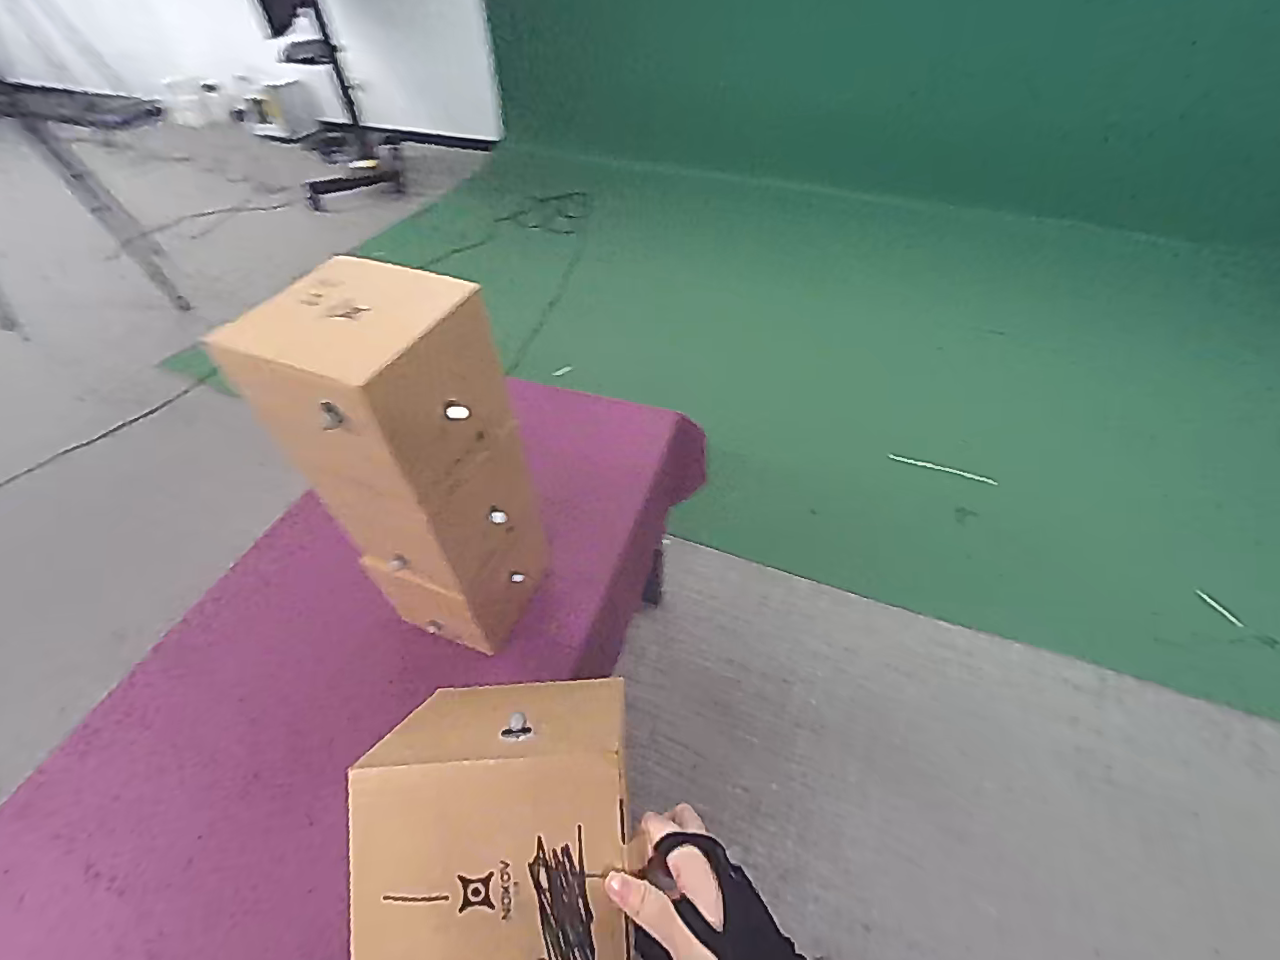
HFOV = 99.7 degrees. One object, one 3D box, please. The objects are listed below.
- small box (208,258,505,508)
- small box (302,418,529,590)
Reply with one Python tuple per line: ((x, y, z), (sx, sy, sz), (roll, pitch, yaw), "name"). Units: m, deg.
((-0.261, -0.095, 0.549), (0.179, 0.176, 0.168), (17, 51, 16), "small box")
((-0.260, 0.013, 0.675), (0.179, 0.176, 0.168), (19, 51, 16), "small box")
